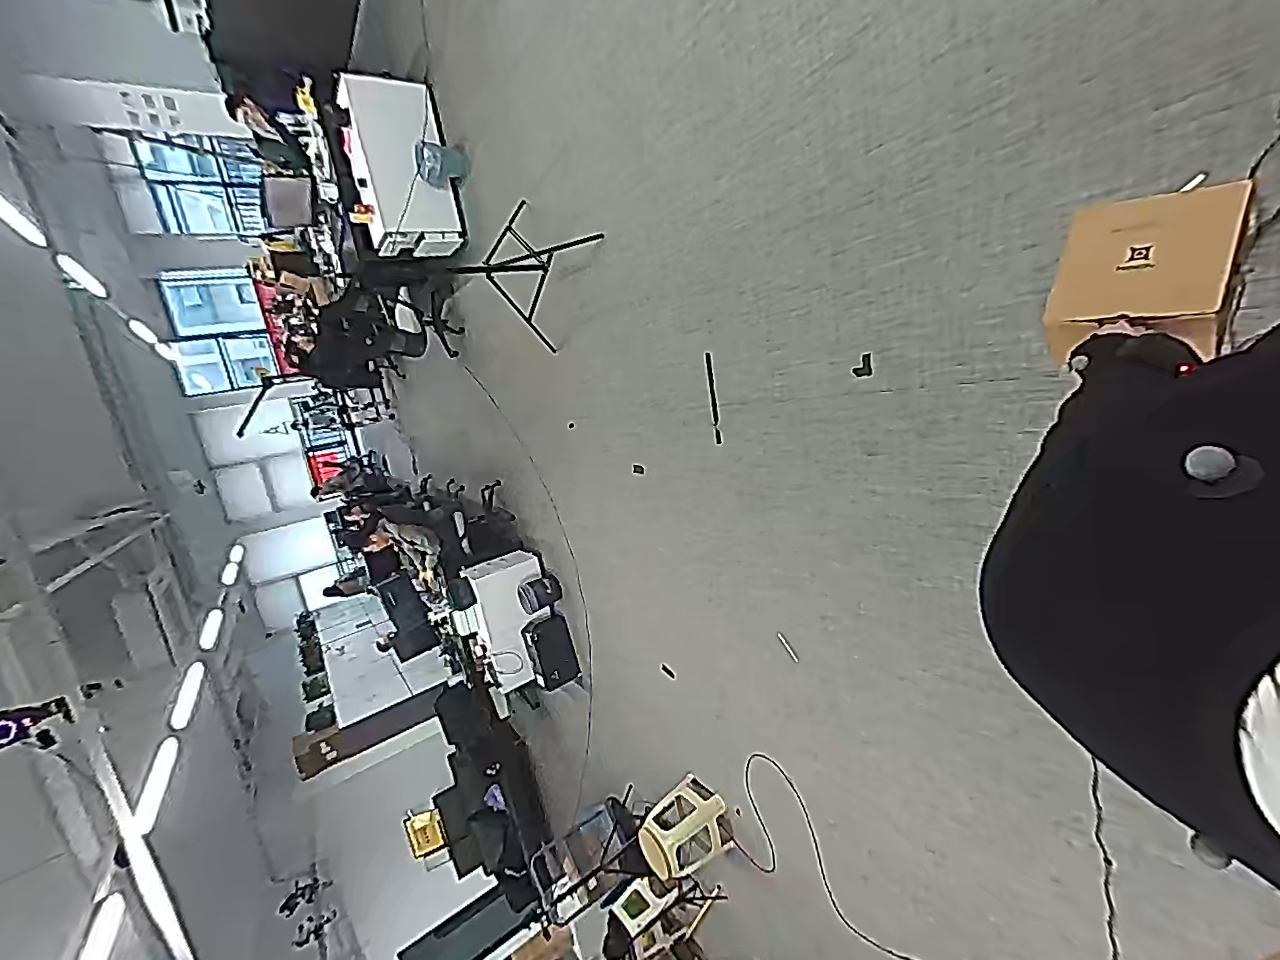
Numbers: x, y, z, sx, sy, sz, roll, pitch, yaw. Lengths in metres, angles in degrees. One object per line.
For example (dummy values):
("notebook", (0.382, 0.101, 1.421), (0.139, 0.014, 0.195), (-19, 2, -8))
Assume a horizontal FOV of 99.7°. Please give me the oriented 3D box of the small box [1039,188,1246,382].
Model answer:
("small box", (0.669, -0.244, 0.726), (0.168, 0.176, 0.179), (14, 80, 47))
